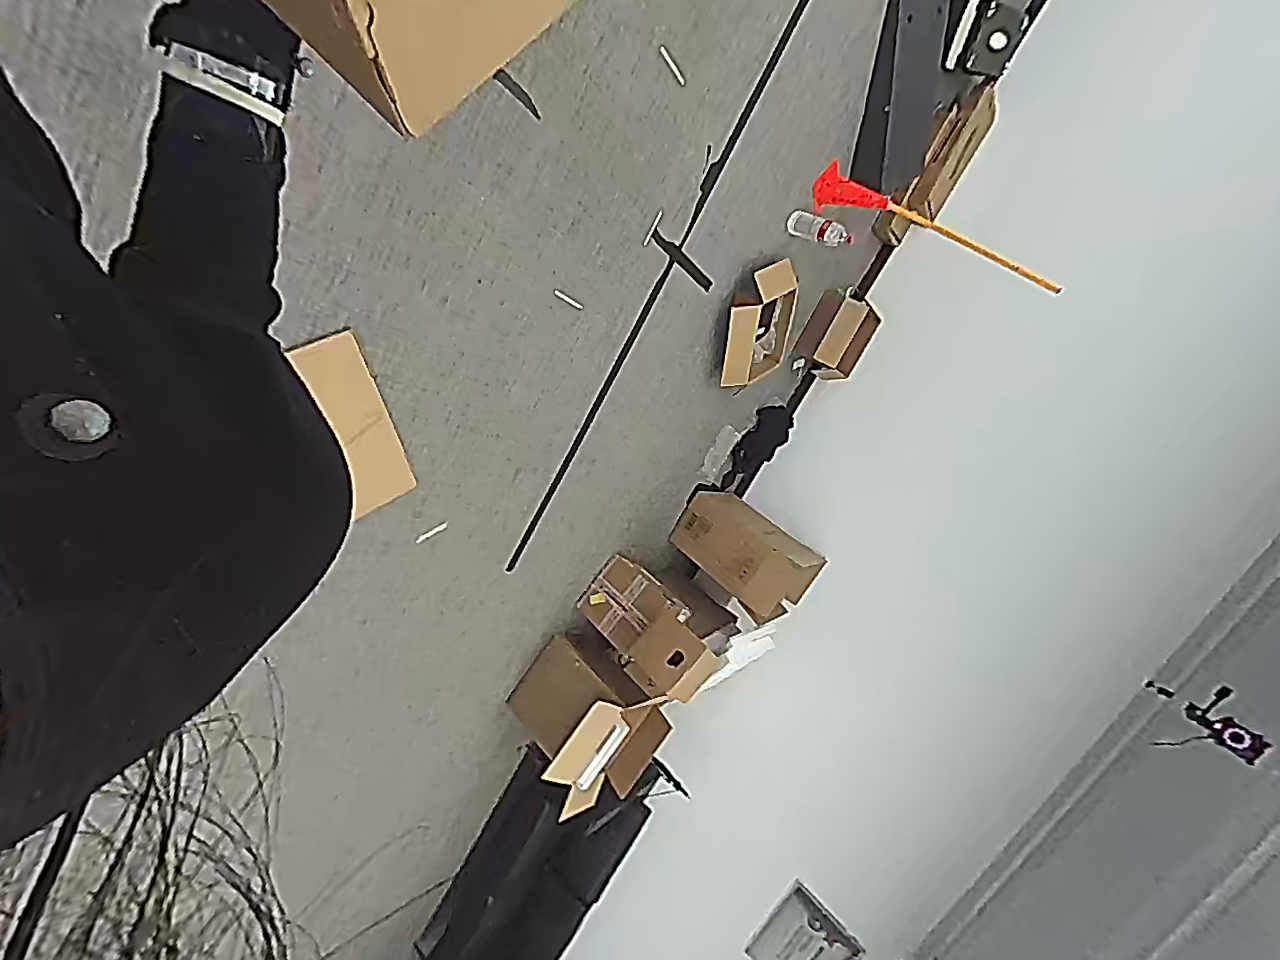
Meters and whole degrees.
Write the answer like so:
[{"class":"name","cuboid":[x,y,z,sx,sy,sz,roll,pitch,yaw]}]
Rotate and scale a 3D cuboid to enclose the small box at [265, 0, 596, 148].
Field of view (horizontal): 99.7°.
[{"class":"small box","cuboid":[-0.121,-0.322,0.254,0.179,0.176,0.168,-48,-176,-9]}]
